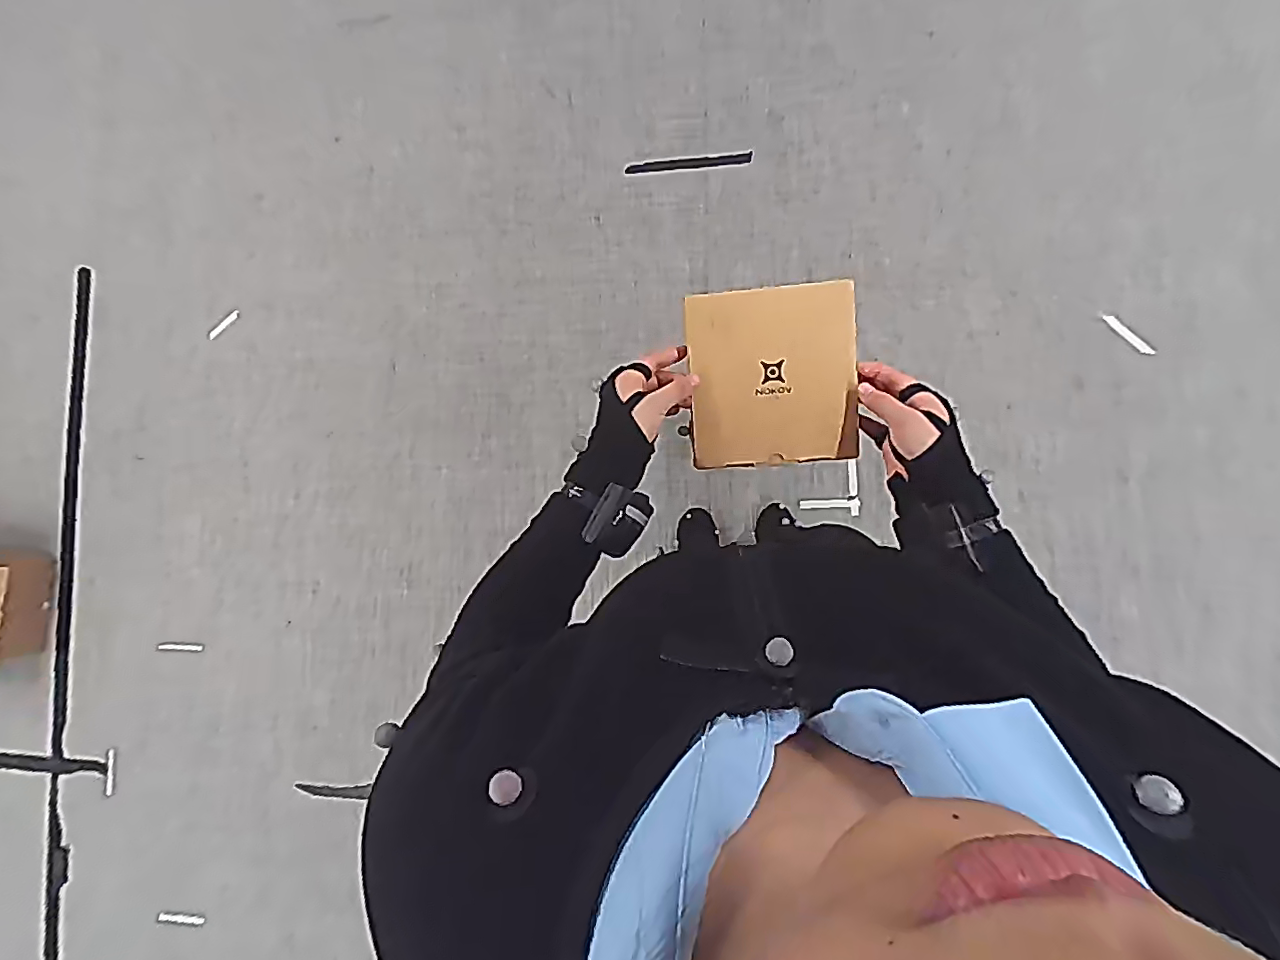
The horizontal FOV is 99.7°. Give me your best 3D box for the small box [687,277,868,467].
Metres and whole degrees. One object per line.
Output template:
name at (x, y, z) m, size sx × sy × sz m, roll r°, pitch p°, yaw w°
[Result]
small box at (0.142, -0.113, 0.609) m, size 0.168 × 0.176 × 0.179 m, roll -5°, pitch 97°, yaw 5°
